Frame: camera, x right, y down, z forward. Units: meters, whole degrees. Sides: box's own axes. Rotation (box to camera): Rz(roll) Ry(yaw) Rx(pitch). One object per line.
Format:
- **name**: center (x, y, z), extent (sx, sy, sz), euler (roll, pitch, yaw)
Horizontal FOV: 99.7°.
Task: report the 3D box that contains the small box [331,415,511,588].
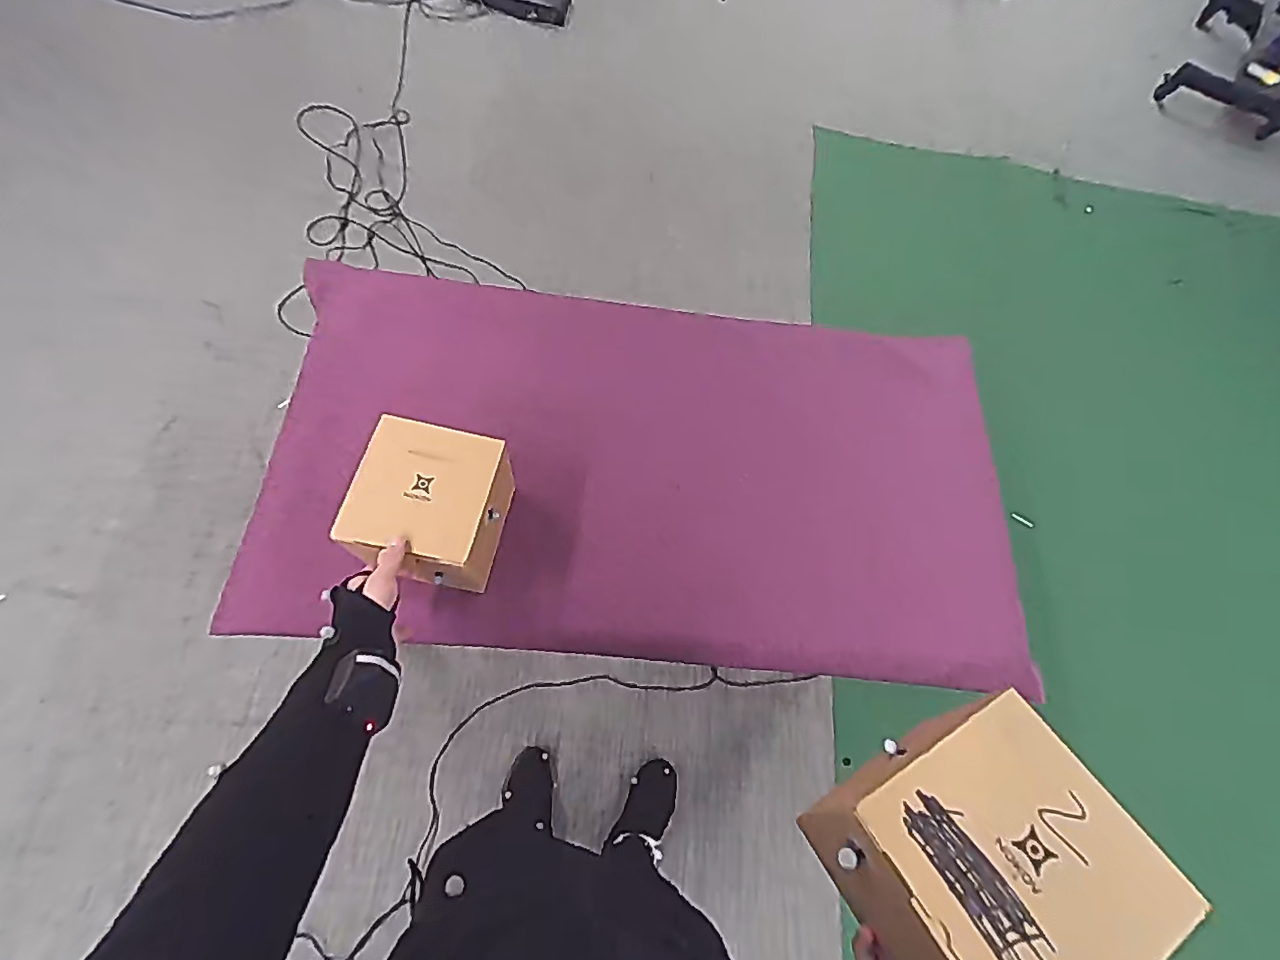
- **small box**: center (-0.285, 0.040, 0.754), extent (0.168, 0.176, 0.179), euler (13, 65, -3)
